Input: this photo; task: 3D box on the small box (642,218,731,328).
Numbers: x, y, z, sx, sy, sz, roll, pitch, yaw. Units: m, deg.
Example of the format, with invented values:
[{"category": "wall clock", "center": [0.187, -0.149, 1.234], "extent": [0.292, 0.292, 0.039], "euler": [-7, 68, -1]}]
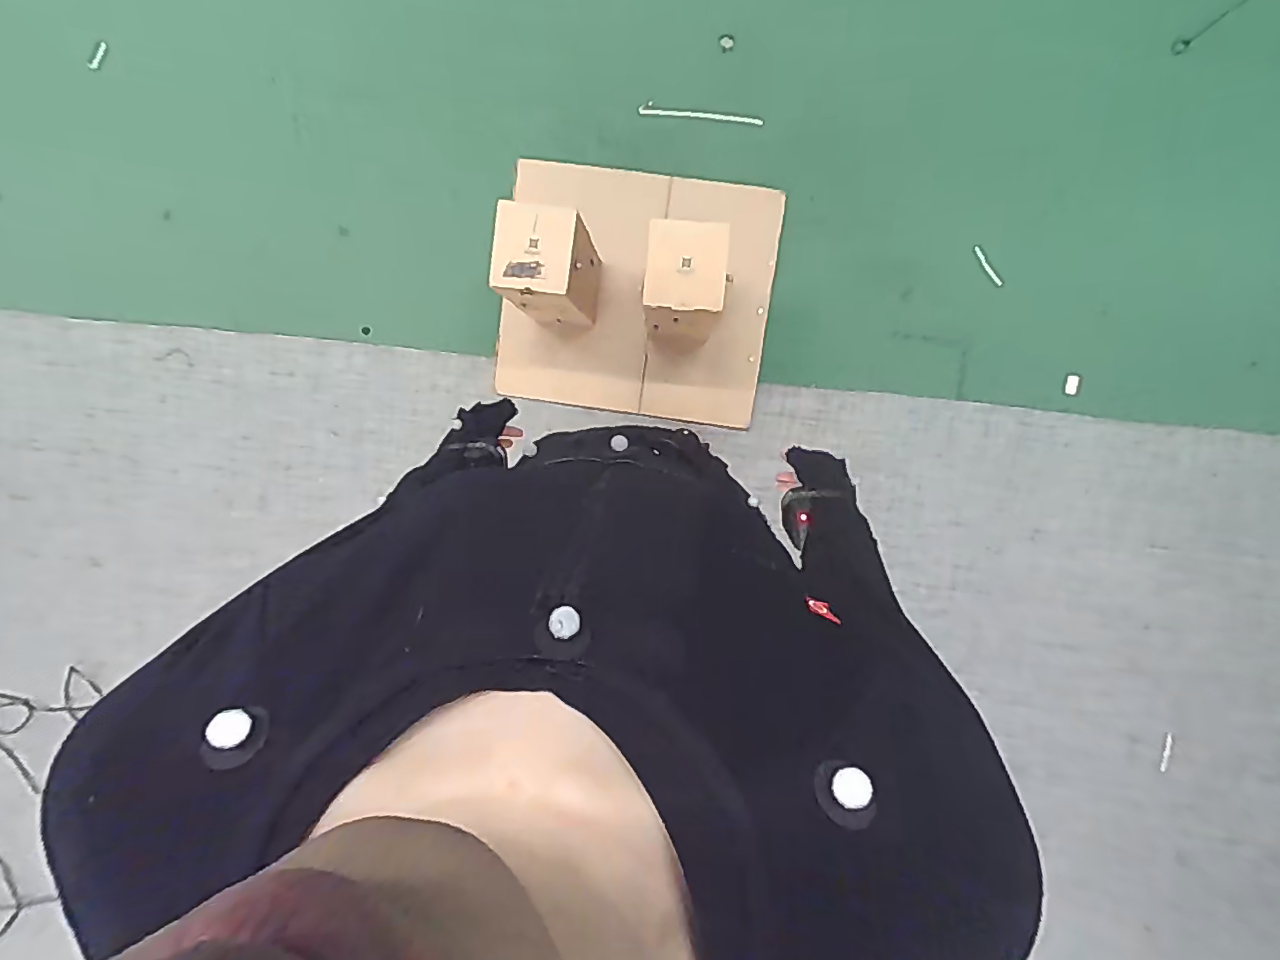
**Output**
[{"category": "small box", "center": [0.096, -0.435, 1.160], "extent": [0.168, 0.176, 0.179], "euler": [5, 96, 3]}]

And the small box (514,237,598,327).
[{"category": "small box", "center": [-0.200, -0.490, 1.333], "extent": [0.168, 0.176, 0.179], "euler": [7, 96, 4]}]

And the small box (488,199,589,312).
[{"category": "small box", "center": [-0.212, -0.475, 1.170], "extent": [0.168, 0.176, 0.179], "euler": [9, 95, 3]}]
